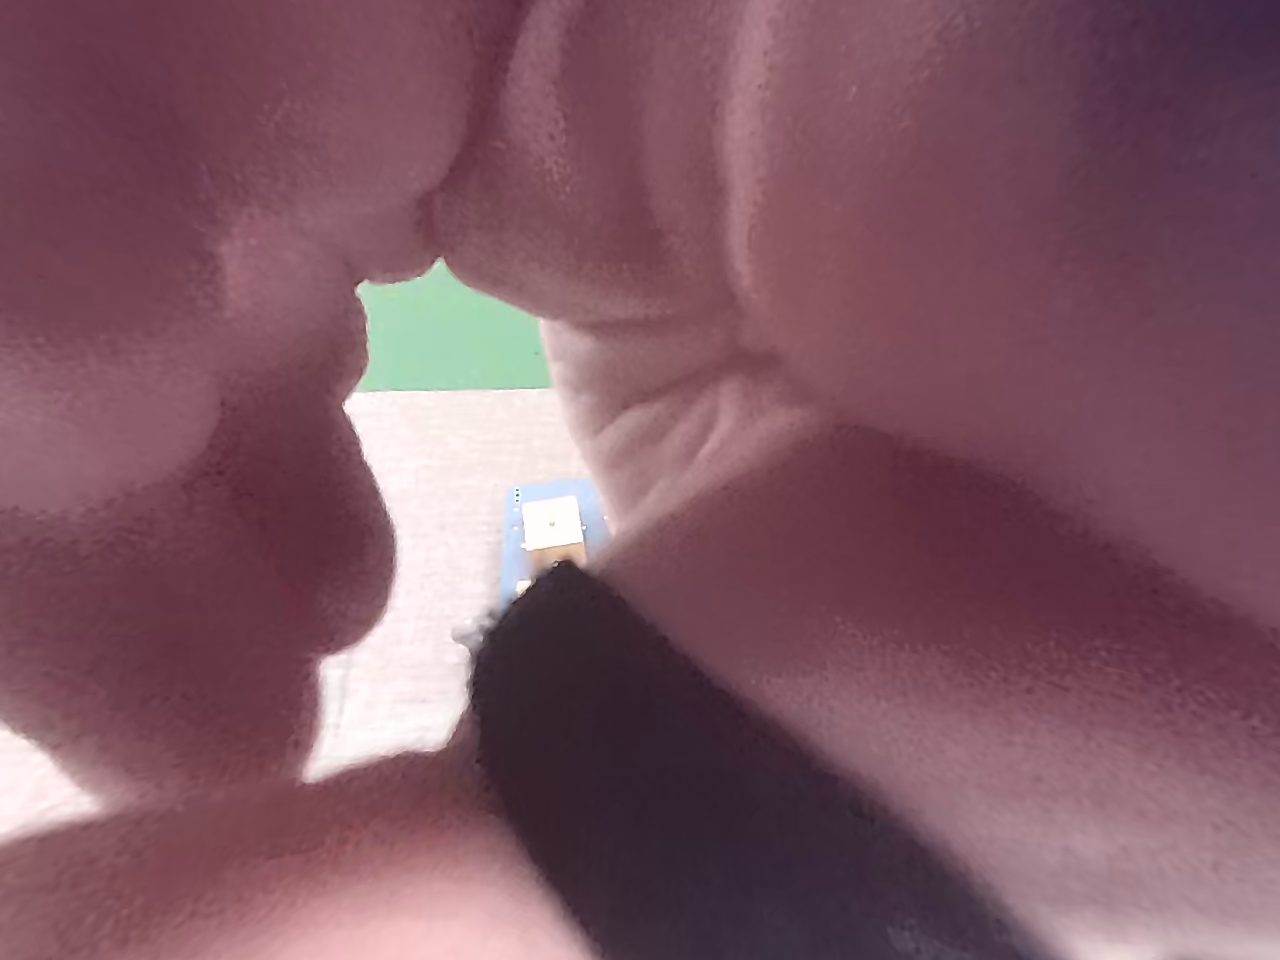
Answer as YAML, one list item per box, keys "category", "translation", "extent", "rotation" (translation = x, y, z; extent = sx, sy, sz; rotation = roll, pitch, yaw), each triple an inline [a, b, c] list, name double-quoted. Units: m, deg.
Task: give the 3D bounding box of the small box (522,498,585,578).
- category: "small box"
  translation: [-0.264, 0.184, 1.656]
  extent: [0.168, 0.176, 0.179]
  rotation: [-8, 50, -8]

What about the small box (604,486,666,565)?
- category: "small box"
  translation: [-0.018, 0.145, 1.691]
  extent: [0.168, 0.176, 0.179]
  rotation: [-9, 51, -7]
